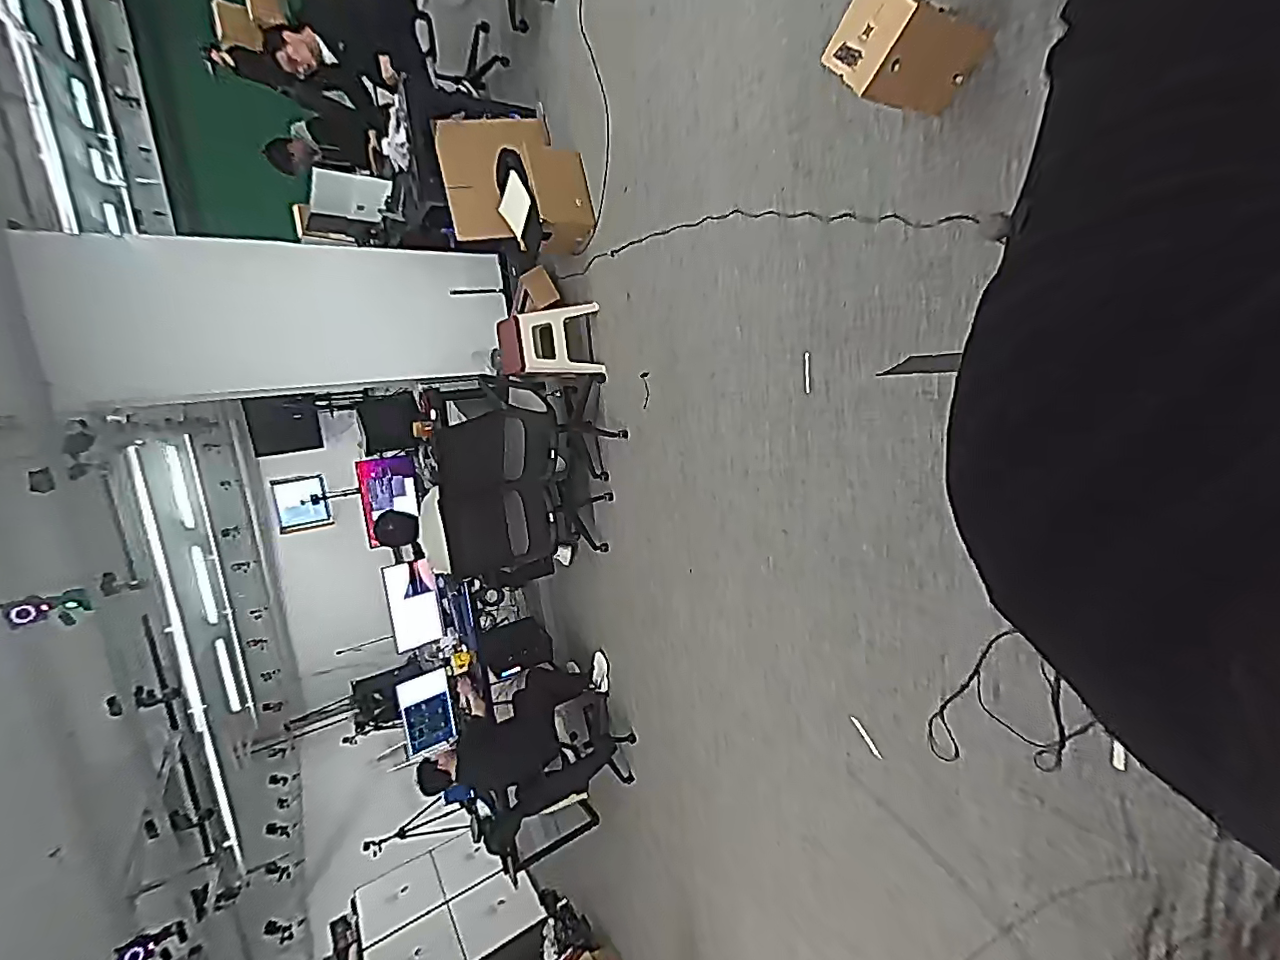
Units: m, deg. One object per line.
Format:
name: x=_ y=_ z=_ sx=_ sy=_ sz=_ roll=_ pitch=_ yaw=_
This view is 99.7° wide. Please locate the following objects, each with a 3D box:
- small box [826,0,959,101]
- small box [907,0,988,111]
small box: x=0.568 y=-0.999 z=1.221 sx=0.168 sy=0.176 sz=0.179 roll=62 pitch=145 yaw=23
small box: x=0.701 y=-1.042 z=1.311 sx=0.168 sy=0.176 sz=0.179 roll=62 pitch=144 yaw=24
